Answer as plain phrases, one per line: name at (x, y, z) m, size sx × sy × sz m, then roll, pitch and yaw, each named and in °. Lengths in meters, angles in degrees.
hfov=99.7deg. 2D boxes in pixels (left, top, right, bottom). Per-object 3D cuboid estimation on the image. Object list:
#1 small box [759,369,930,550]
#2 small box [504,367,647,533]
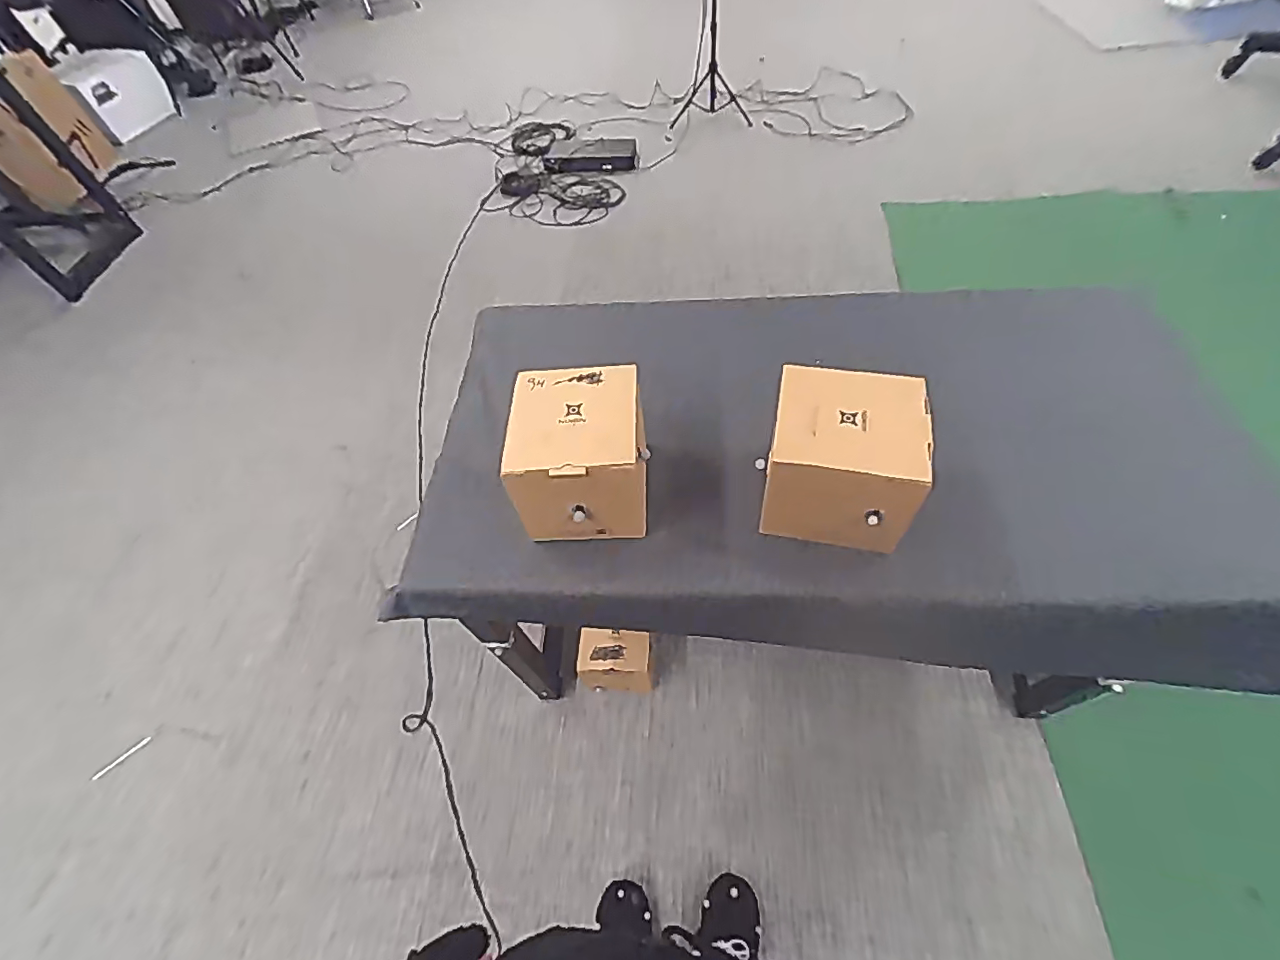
small box at (0.261, -0.022, 0.719) m, size 0.179 × 0.176 × 0.168 m, roll 8°, pitch 56°, yaw 12°
small box at (-0.077, -0.034, 0.757) m, size 0.168 × 0.176 × 0.179 m, roll -2°, pitch 55°, yaw 4°
